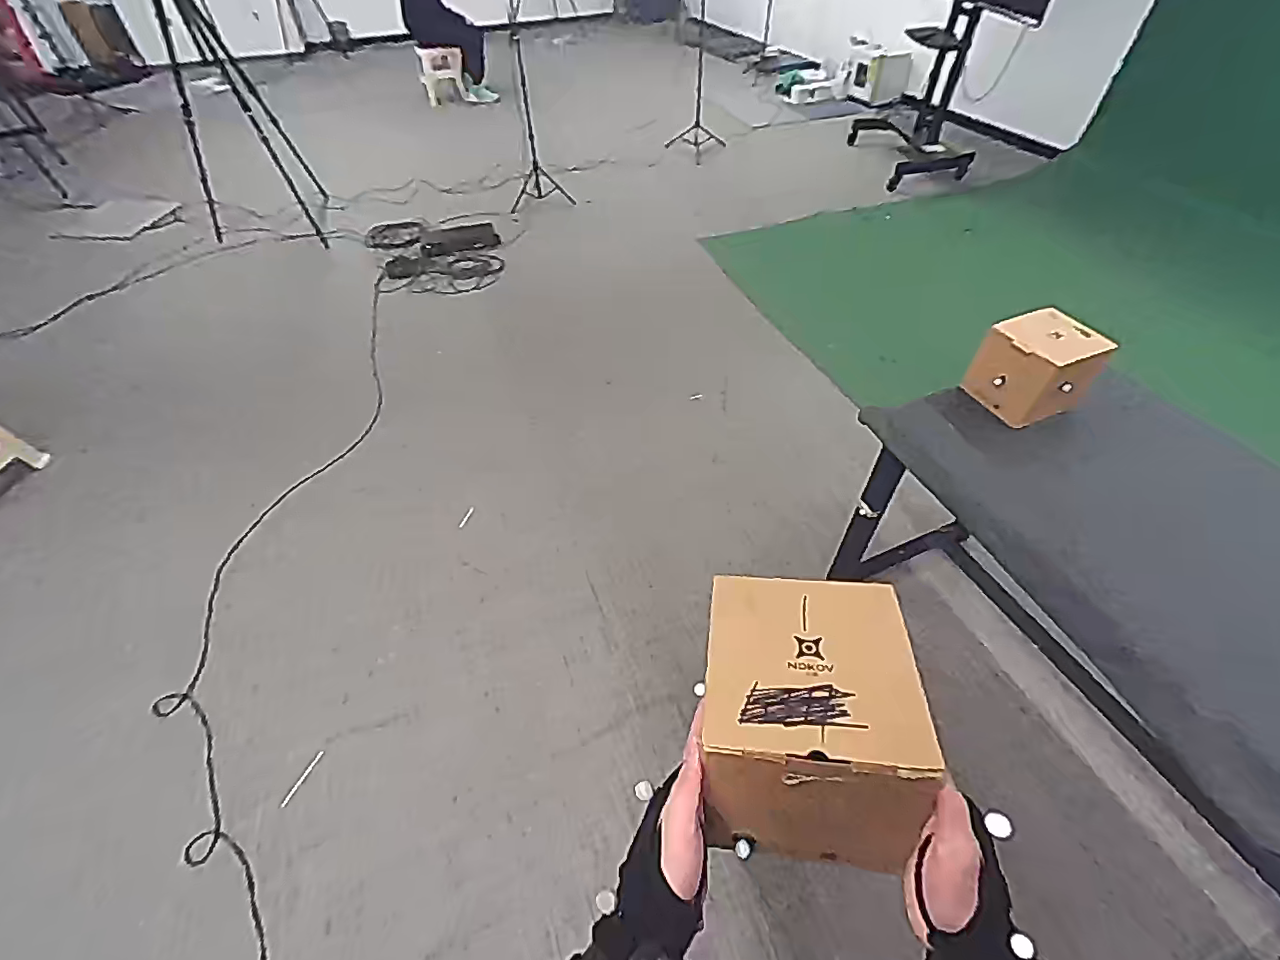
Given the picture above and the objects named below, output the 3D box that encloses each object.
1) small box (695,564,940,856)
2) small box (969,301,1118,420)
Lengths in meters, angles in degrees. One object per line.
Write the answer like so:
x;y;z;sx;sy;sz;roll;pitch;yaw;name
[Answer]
0.144;0.199;0.480;0.168;0.176;0.179;2;37;12;small box
0.855;-0.255;1.173;0.179;0.176;0.168;-19;53;-13;small box
